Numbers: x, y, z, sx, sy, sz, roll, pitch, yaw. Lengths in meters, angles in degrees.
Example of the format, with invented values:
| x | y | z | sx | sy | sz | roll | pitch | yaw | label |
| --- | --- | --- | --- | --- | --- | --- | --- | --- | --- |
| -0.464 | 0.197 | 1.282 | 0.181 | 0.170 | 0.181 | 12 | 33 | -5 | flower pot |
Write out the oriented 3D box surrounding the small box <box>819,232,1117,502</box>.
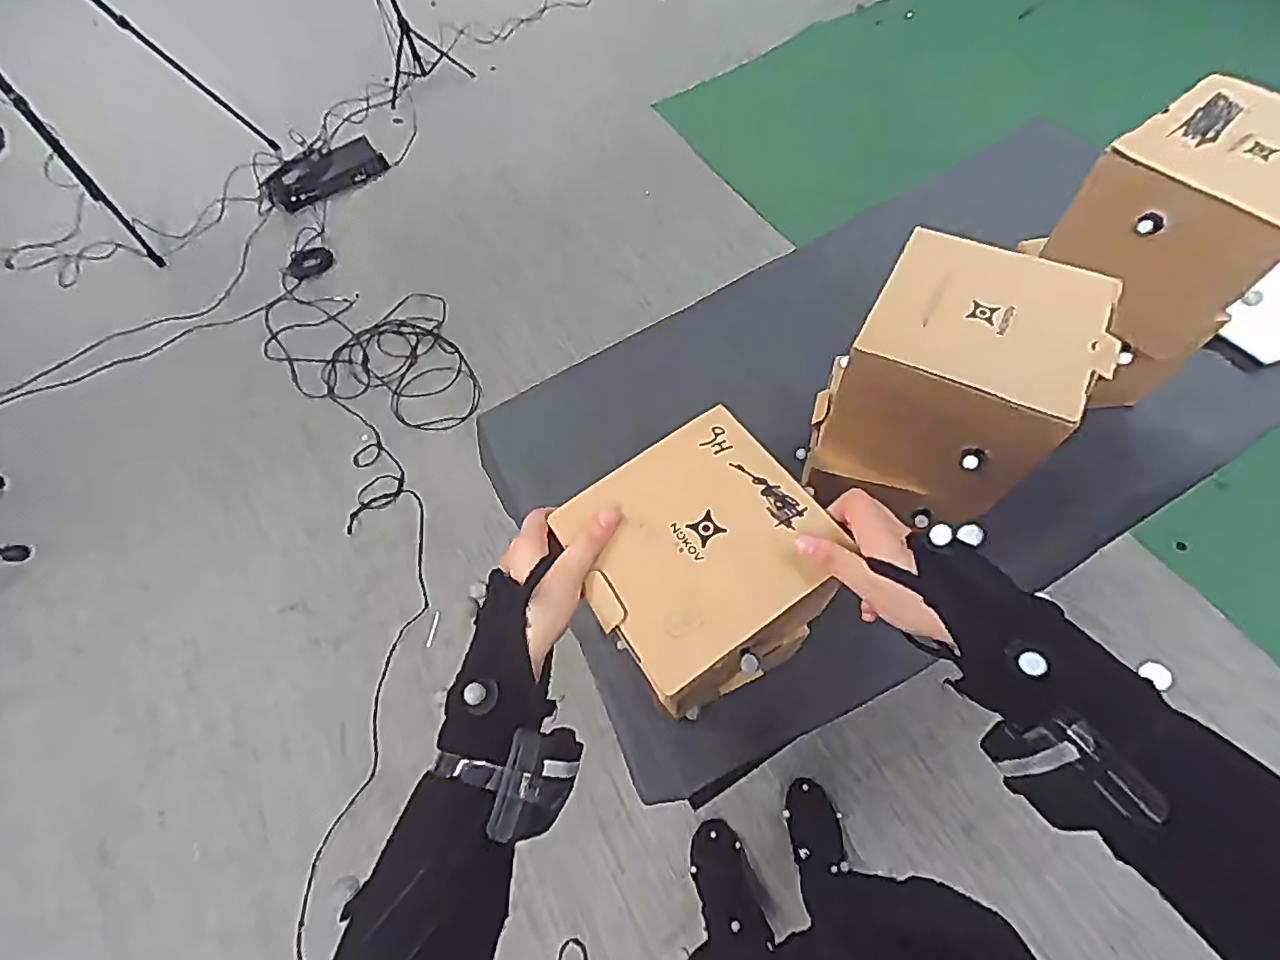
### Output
| x | y | z | sx | sy | sz | roll | pitch | yaw | label |
| --- | --- | --- | --- | --- | --- | --- | --- | --- | --- |
| 0.298 | -0.099 | 0.527 | 0.179 | 0.176 | 0.168 | 25 | 68 | 19 | small box |

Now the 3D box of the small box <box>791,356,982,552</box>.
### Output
| x | y | z | sx | sy | sz | roll | pitch | yaw | label |
| --- | --- | --- | --- | --- | --- | --- | --- | --- | --- |
| 0.300 | -0.024 | 0.671 | 0.179 | 0.176 | 0.168 | 14 | 65 | 14 | small box |

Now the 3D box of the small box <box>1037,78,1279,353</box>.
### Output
| x | y | z | sx | sy | sz | roll | pitch | yaw | label |
| --- | --- | --- | --- | --- | --- | --- | --- | --- | --- |
| 0.574 | -0.271 | 0.573 | 0.168 | 0.176 | 0.179 | -36 | 64 | -9 | small box |

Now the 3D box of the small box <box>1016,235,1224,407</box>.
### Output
| x | y | z | sx | sy | sz | roll | pitch | yaw | label |
| --- | --- | --- | --- | --- | --- | --- | --- | --- | --- |
| 0.585 | -0.208 | 0.725 | 0.179 | 0.176 | 0.168 | -5 | 63 | 6 | small box |
